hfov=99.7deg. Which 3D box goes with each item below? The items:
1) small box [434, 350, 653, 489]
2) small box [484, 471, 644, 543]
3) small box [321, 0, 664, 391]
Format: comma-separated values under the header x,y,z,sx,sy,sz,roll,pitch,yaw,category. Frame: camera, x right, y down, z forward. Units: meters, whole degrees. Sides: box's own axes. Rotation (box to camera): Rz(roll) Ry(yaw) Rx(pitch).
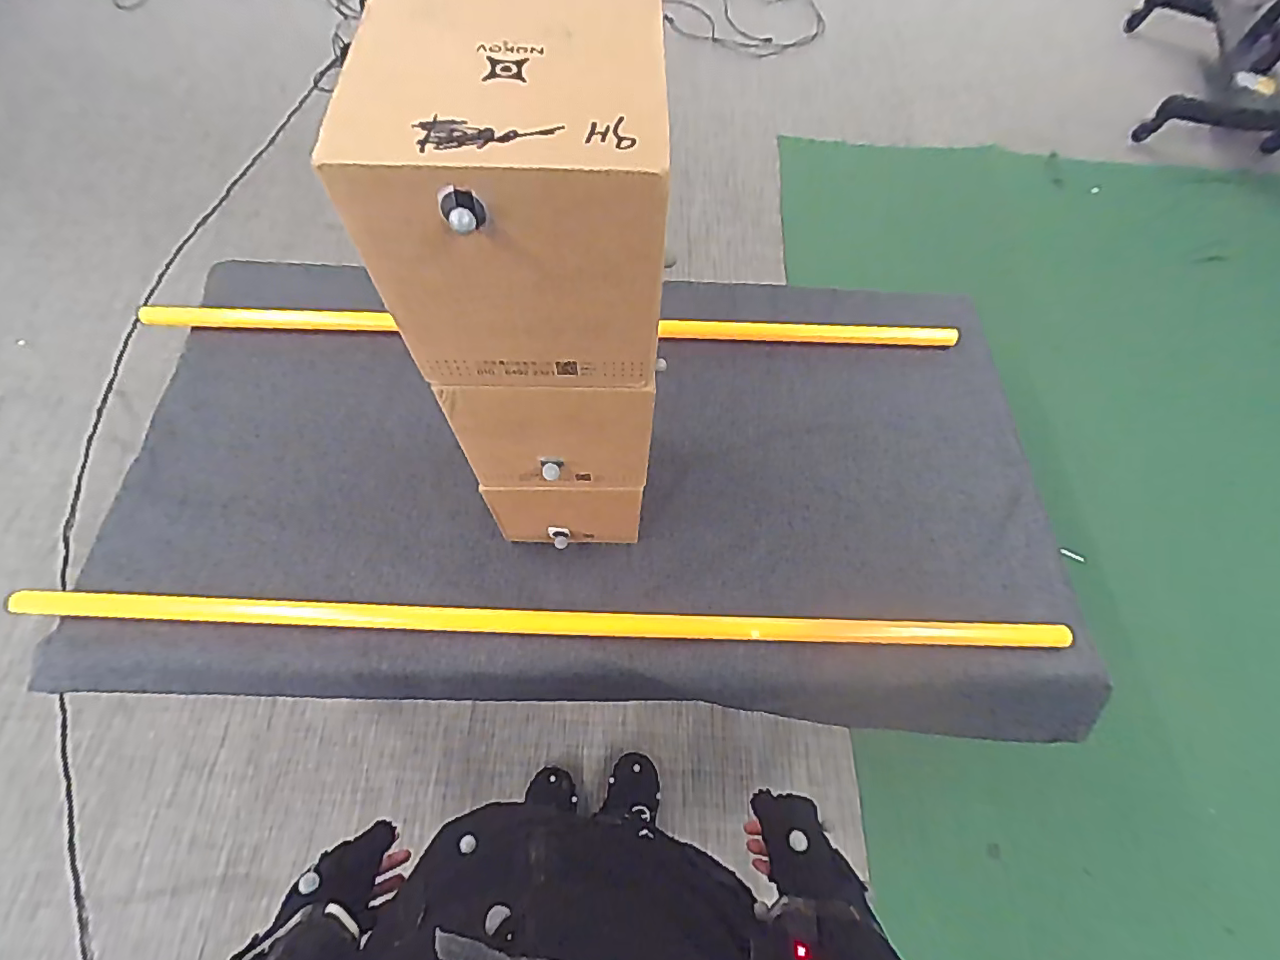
x,y,z,sx,sy,sz,roll,pitch,yaw,category
-0.075,-0.107,0.511,0.168,0.176,0.179,1,64,-1,small box
-0.082,-0.033,0.658,0.168,0.176,0.179,-1,65,-2,small box
-0.073,-0.182,0.365,0.168,0.176,0.179,0,63,-1,small box
